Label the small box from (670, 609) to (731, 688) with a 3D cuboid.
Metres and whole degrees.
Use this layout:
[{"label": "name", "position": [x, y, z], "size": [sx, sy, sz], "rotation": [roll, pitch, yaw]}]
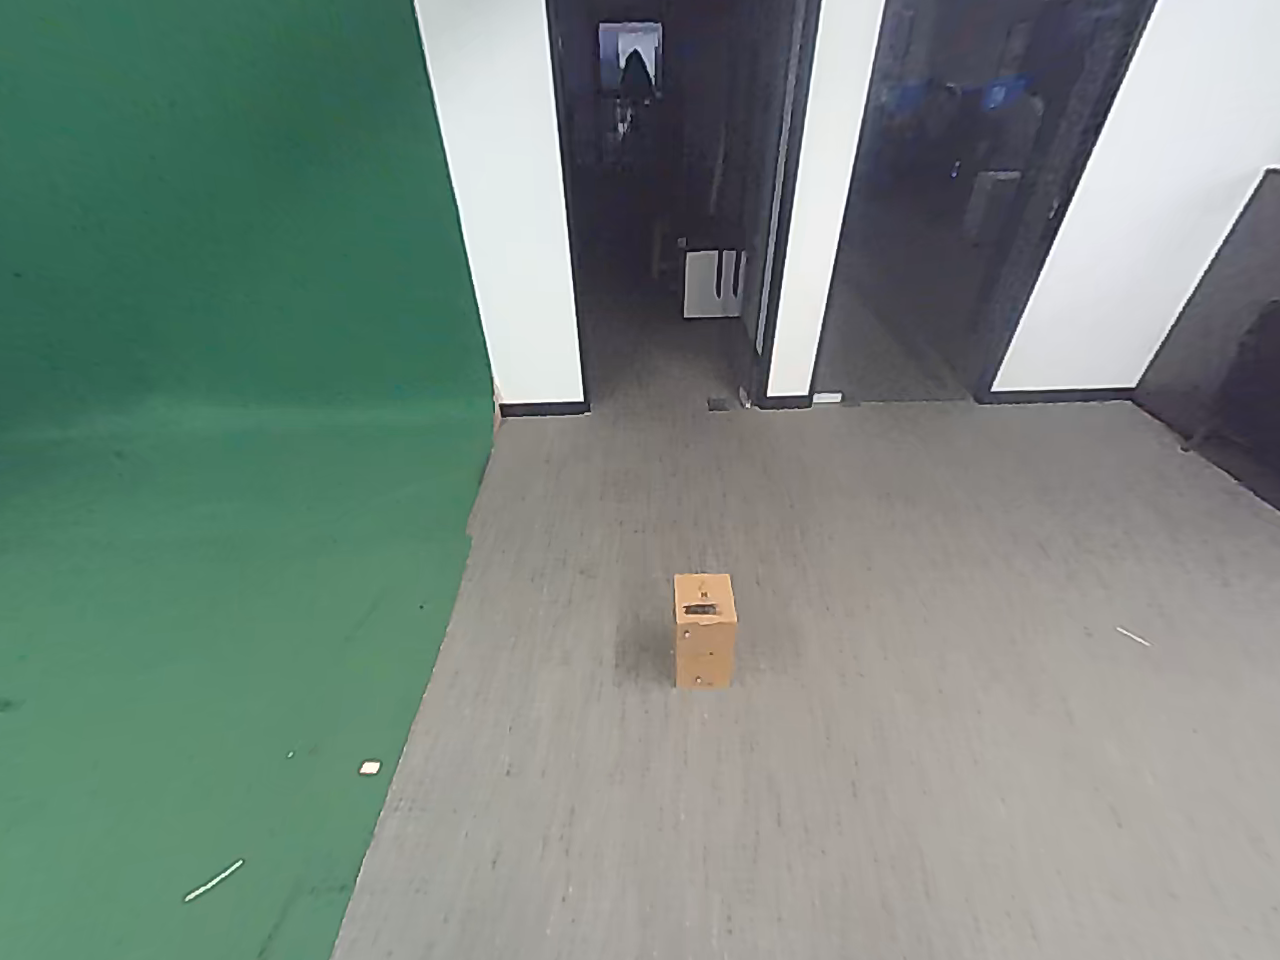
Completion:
[{"label": "small box", "position": [0.182, 0.523, 1.683], "size": [0.168, 0.176, 0.179], "rotation": [-1, 39, 0]}]
